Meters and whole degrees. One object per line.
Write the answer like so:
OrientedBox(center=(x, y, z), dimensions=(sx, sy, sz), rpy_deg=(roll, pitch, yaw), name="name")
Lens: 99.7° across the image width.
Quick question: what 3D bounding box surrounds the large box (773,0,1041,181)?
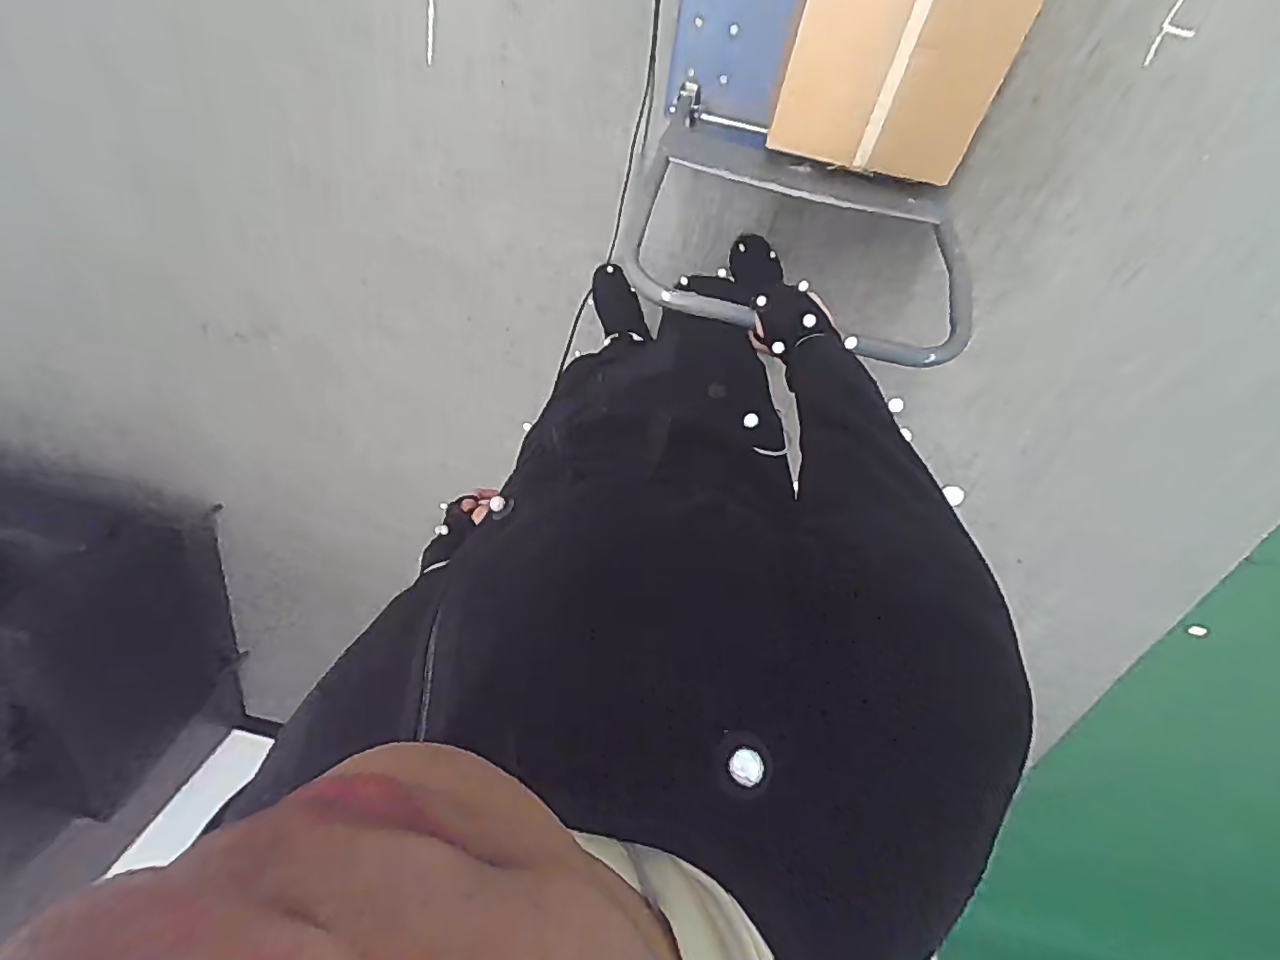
OrientedBox(center=(0.424, -0.770, 0.874), dimensions=(0.320, 0.320, 0.408), rpy_deg=(13, 137, 1), name="large box")
